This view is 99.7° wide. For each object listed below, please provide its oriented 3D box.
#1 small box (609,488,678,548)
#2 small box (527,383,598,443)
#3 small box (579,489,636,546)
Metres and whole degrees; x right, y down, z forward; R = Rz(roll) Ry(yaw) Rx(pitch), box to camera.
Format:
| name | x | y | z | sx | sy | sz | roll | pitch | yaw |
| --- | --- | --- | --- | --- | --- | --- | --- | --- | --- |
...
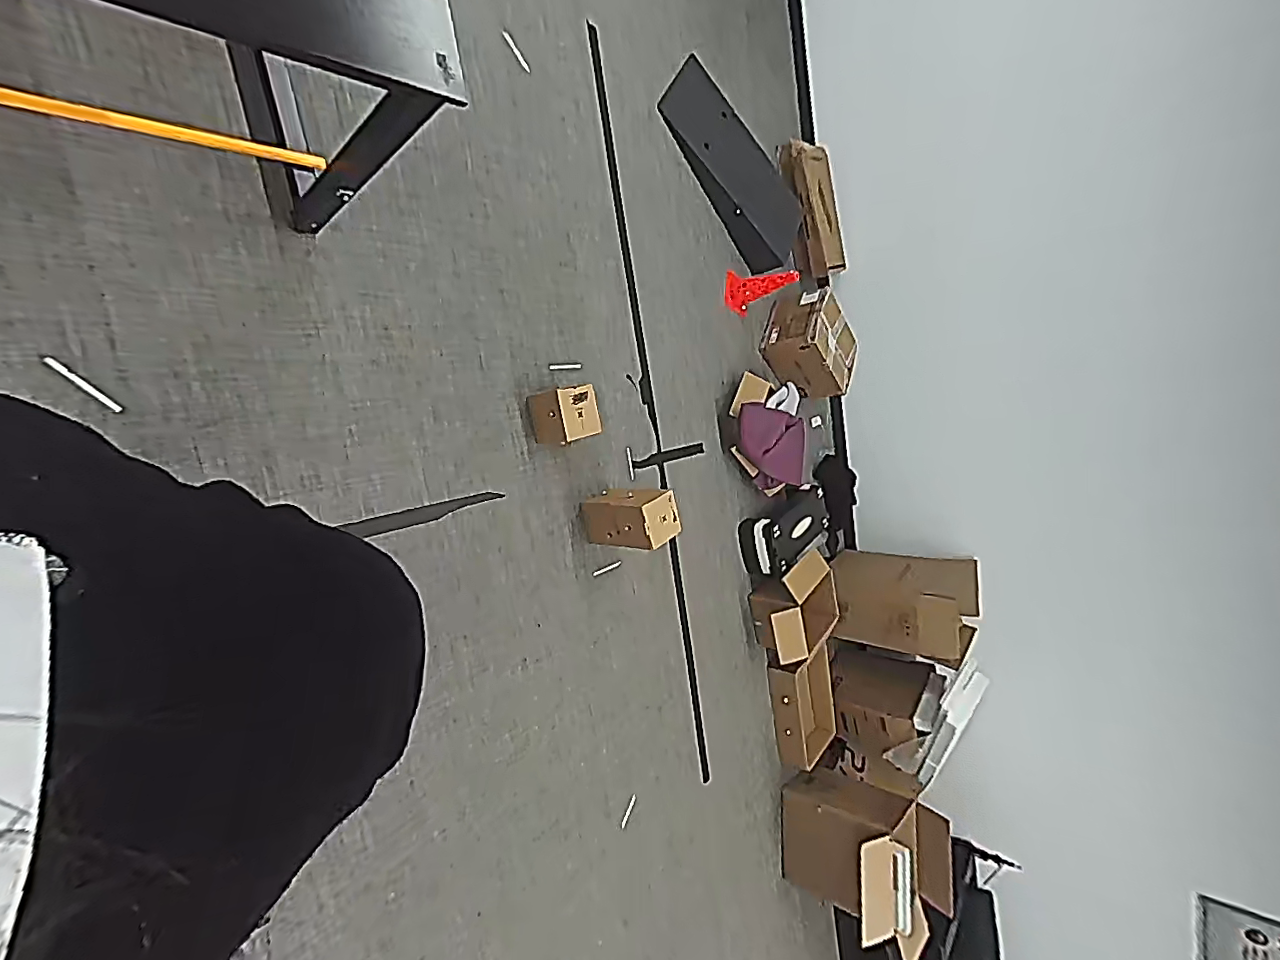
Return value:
| name | x | y | z | sx | sy | sz | roll | pitch | yaw |
| --- | --- | --- | --- | --- | --- | --- | --- | --- | --- |
| small box | 0.008 | 0.135 | 1.949 | 0.179 | 0.176 | 0.168 | -27 | 109 | -44 |
| small box | -0.274 | -0.232 | 1.889 | 0.168 | 0.176 | 0.179 | -21 | 105 | -46 |
| small box | -0.107 | 0.138 | 2.066 | 0.168 | 0.176 | 0.179 | -26 | 108 | -45 |
